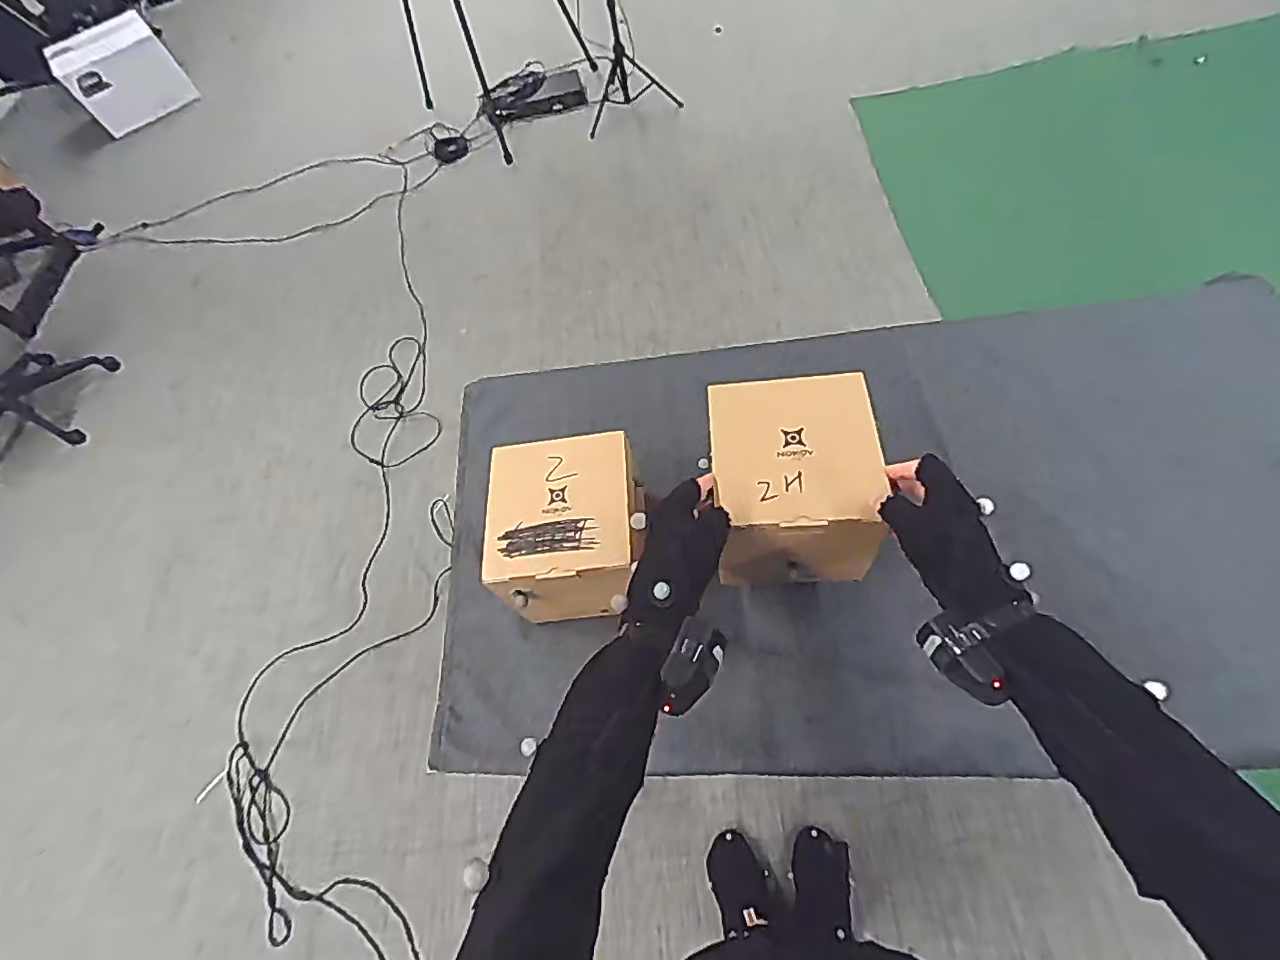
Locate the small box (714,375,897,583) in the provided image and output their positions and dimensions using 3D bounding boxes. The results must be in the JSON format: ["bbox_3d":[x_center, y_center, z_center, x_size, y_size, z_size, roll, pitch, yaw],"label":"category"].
[{"bbox_3d":[0.170,0.006,0.615,0.168,0.176,0.179,-4,61,9],"label":"small box"}]
